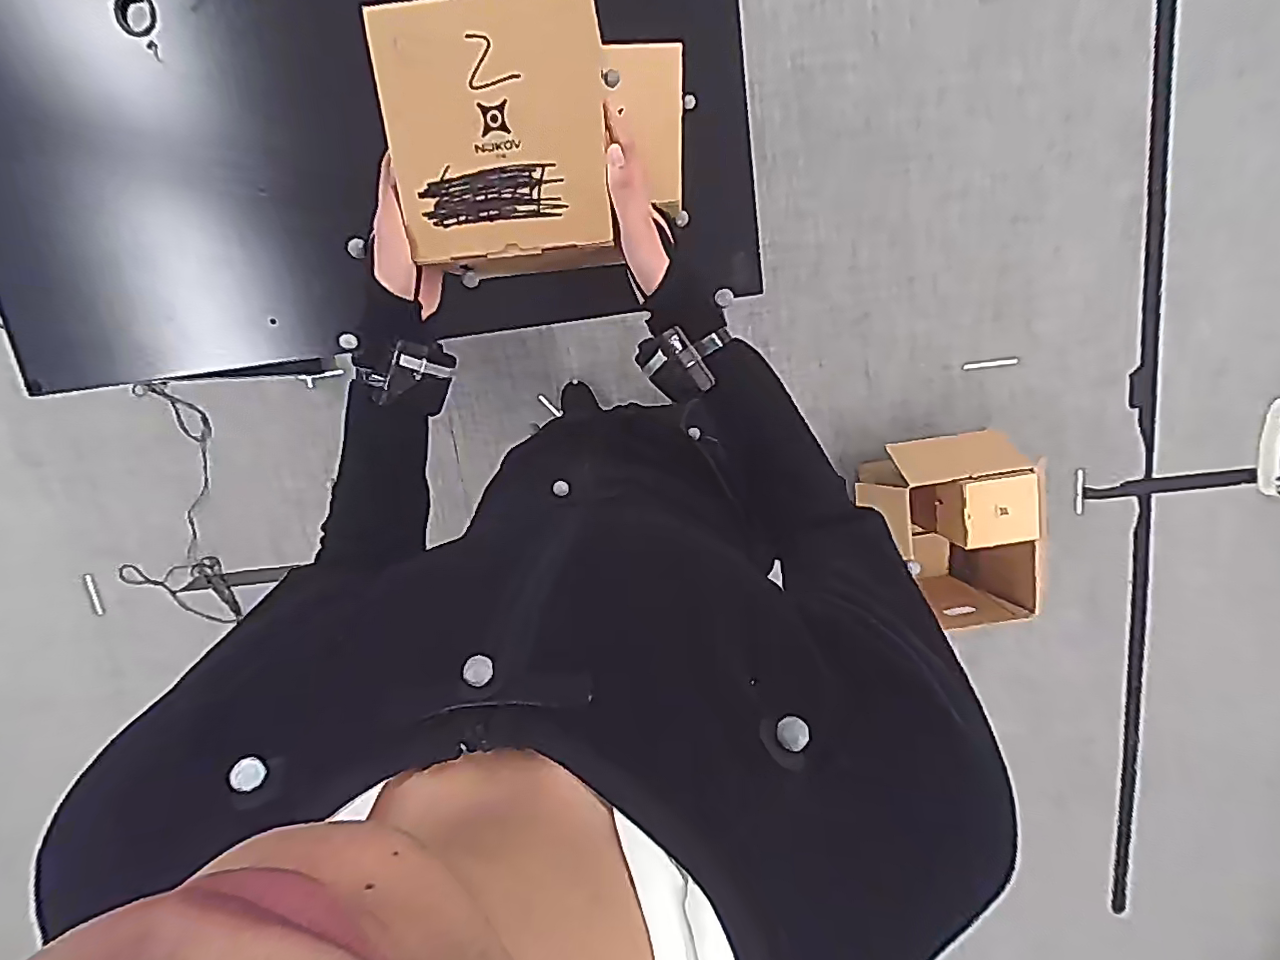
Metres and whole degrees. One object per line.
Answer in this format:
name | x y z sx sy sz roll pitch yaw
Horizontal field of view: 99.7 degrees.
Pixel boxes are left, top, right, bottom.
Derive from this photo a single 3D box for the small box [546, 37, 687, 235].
small box | -0.027 -0.438 0.714 0.168 0.176 0.179 0 102 2
